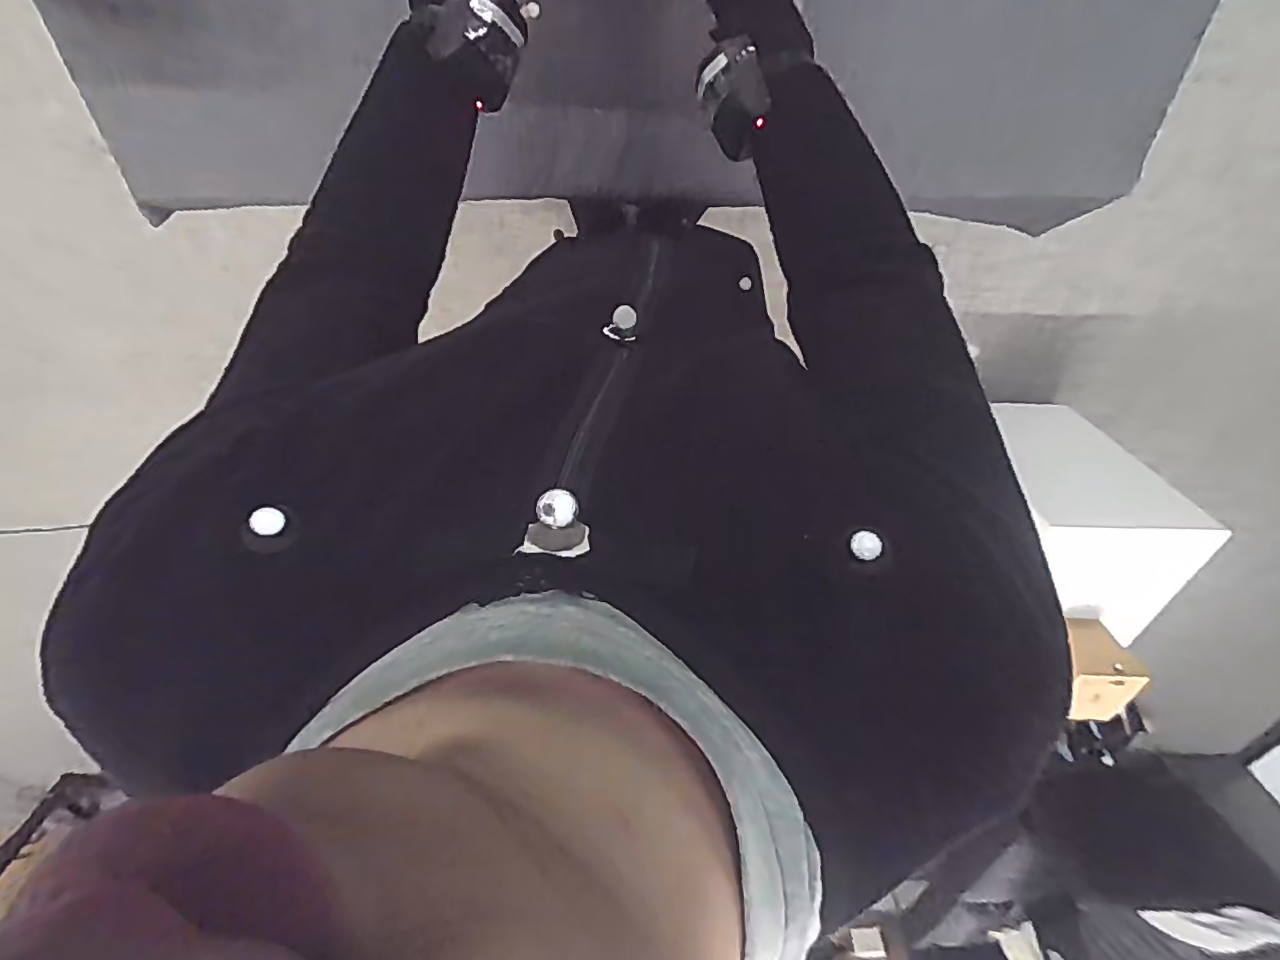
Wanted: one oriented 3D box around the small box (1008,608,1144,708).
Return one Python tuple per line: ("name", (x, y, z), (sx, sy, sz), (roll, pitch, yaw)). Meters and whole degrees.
("small box", (1.060, 0.440, 1.338), (0.168, 0.176, 0.179), (2, 128, -3))
